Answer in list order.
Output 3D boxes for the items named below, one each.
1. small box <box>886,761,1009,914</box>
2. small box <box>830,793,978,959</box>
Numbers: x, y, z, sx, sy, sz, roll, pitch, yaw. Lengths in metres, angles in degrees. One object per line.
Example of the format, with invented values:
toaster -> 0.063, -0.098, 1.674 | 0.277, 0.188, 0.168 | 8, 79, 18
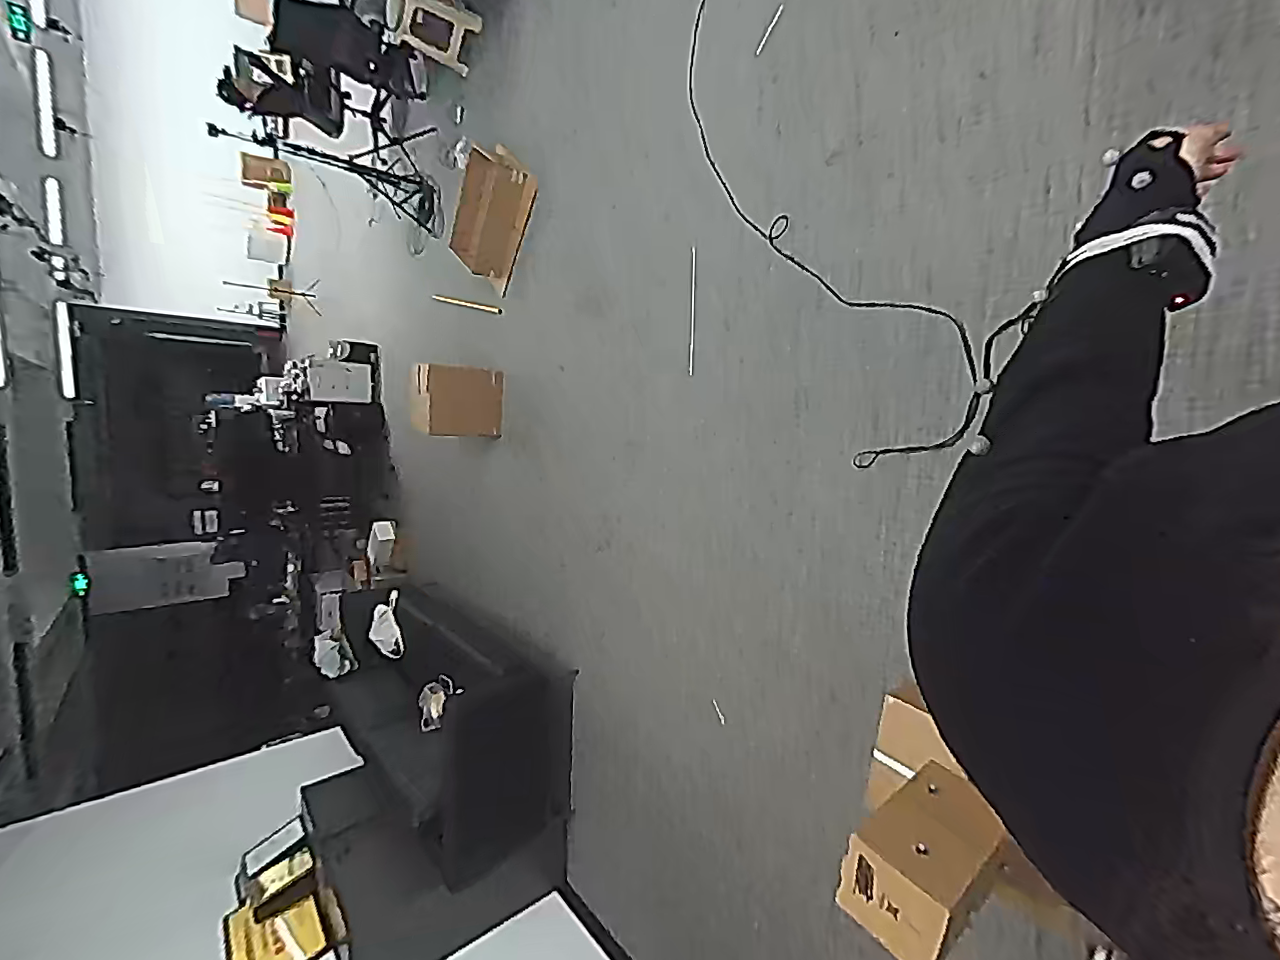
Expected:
small box -> 0.614, 0.712, 1.106 | 0.179, 0.176, 0.168 | 21, 111, 47
small box -> 0.487, 0.722, 1.002 | 0.179, 0.176, 0.168 | 22, 112, 46
